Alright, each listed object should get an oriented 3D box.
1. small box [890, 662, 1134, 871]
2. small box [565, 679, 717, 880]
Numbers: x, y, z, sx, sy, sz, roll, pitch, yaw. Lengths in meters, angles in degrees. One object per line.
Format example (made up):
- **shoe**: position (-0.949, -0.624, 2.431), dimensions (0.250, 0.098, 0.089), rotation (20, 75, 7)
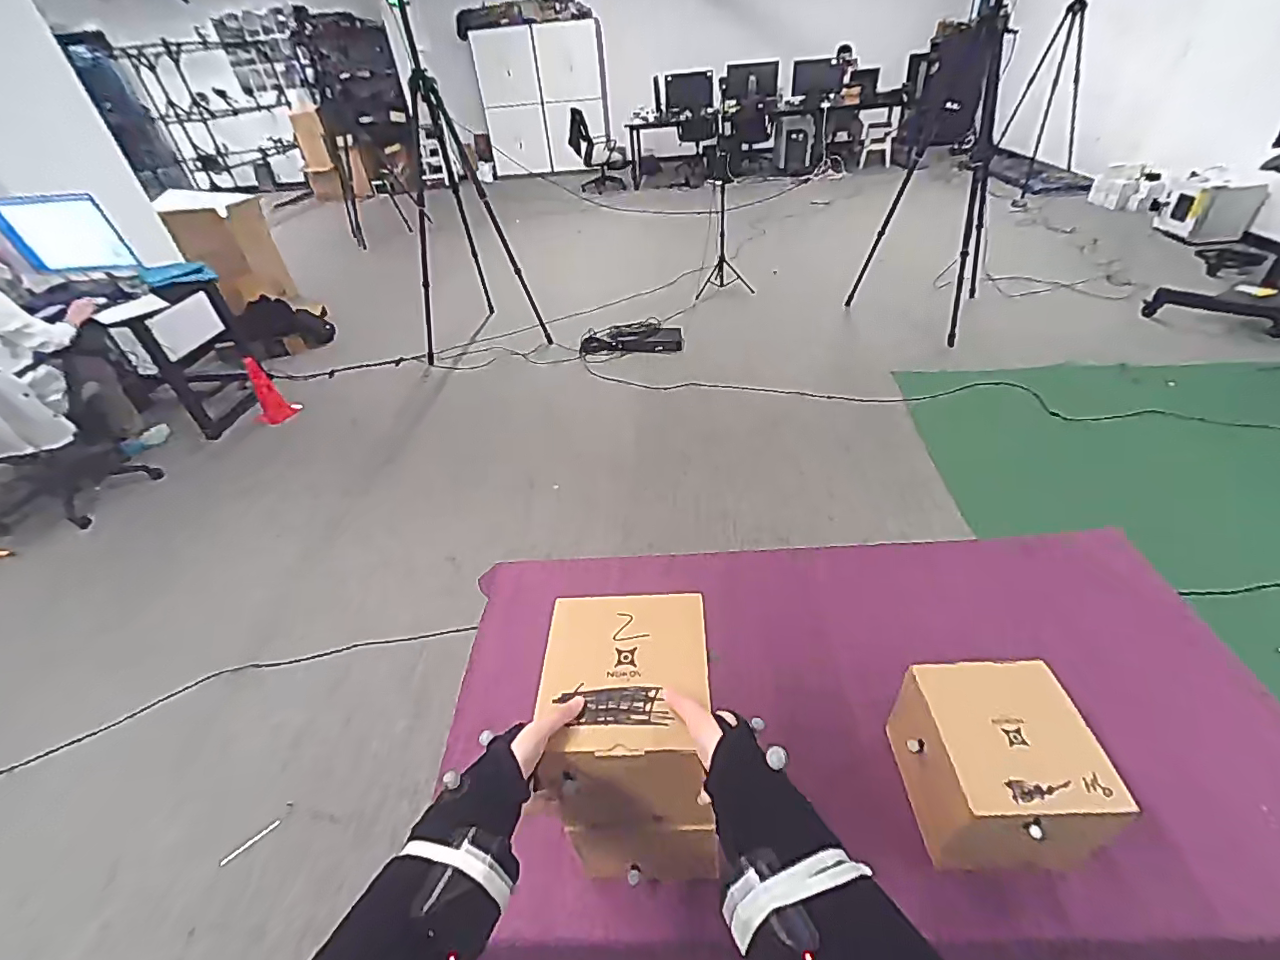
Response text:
- **small box**: position (0.428, 0.349, 0.665), dimensions (0.168, 0.176, 0.179), rotation (-4, 38, 4)
- **small box**: position (0.009, 0.378, 0.690), dimensions (0.168, 0.176, 0.179), rotation (-3, 40, 5)
